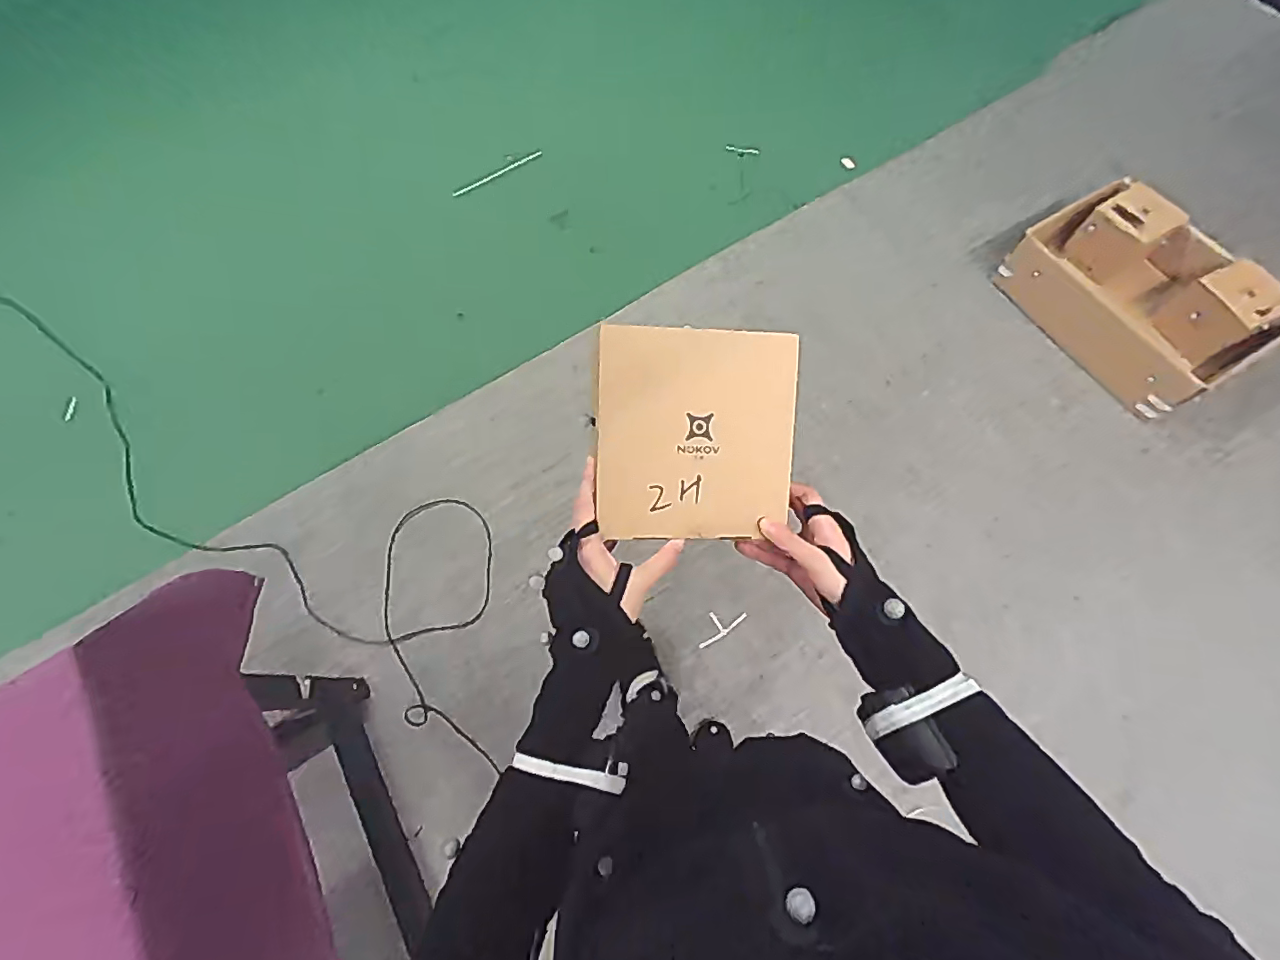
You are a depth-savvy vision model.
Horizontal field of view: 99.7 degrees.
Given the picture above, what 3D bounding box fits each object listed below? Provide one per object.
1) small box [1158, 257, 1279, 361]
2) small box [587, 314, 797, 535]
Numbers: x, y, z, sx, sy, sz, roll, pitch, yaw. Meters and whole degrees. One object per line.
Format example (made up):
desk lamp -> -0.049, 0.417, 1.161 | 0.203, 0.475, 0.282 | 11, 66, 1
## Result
small box -> 1.575, -0.454, 1.451 | 0.168, 0.176, 0.179 | -22, 68, -3
small box -> 0.035, -0.051, 0.520 | 0.168, 0.176, 0.179 | 2, 98, -6
